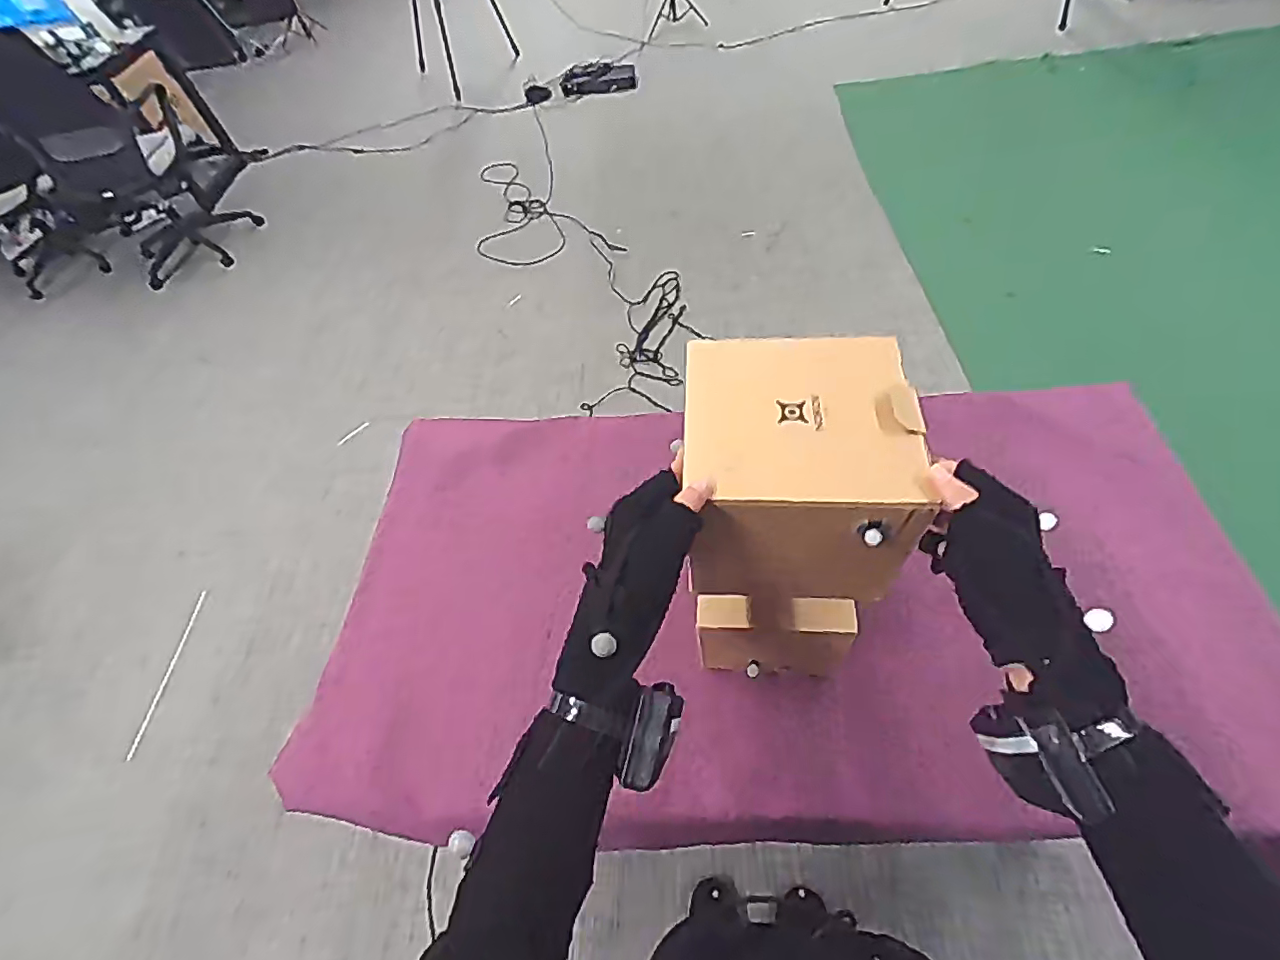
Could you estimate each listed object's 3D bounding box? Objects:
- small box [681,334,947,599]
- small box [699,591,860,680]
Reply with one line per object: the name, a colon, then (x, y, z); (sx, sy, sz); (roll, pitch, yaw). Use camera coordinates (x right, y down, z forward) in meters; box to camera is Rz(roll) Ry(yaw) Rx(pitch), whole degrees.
small box: (0.128, -0.005, 0.469); (0.179, 0.176, 0.168); (0, 56, 6)
small box: (0.161, 0.132, 0.668); (0.168, 0.176, 0.179); (0, 56, 10)
